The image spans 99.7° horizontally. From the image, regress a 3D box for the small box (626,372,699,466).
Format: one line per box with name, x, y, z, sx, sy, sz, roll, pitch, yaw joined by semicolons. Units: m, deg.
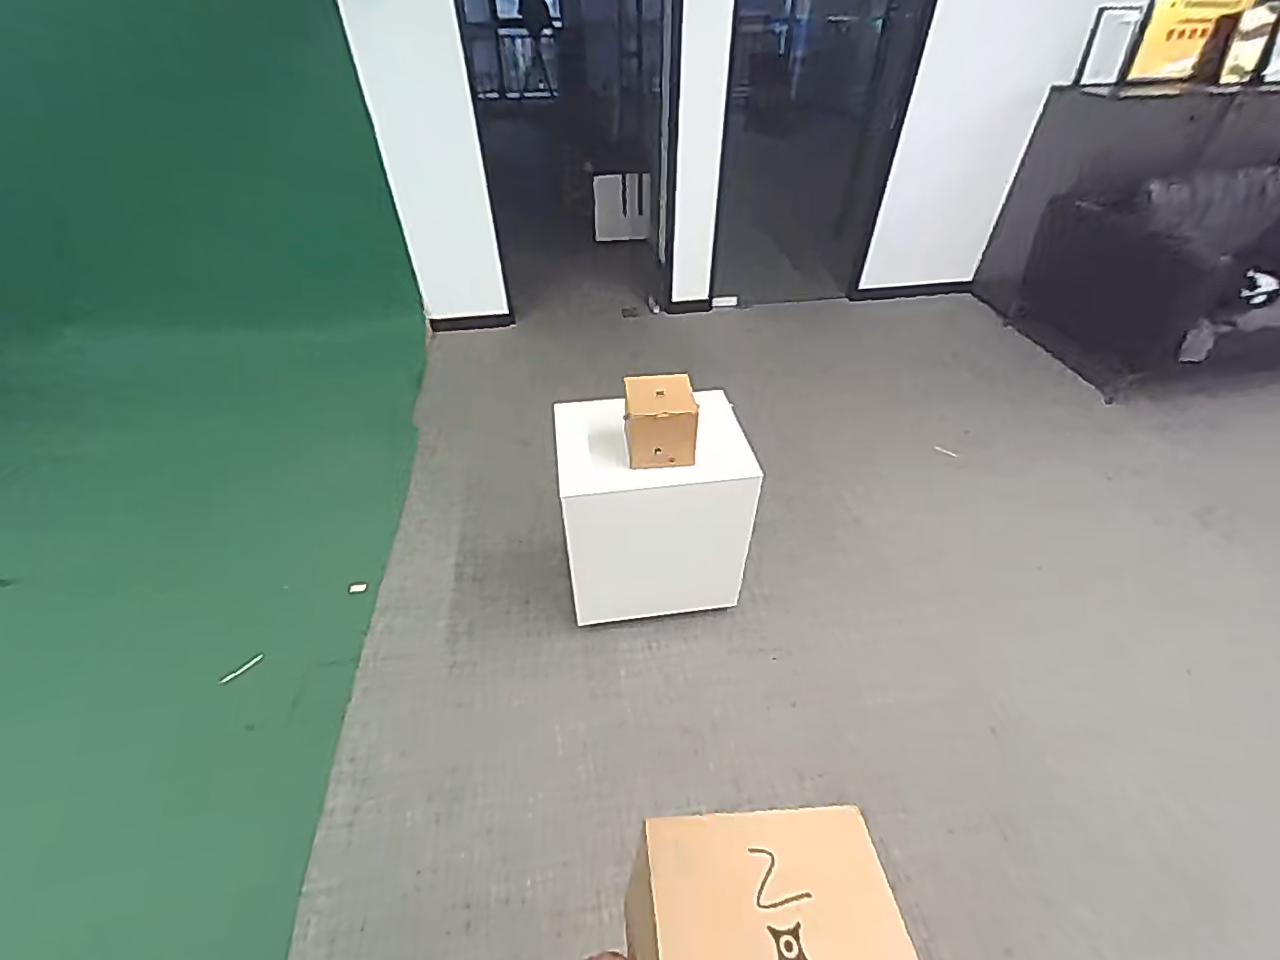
small box;0.050;-0.155;1.375;0.168;0.176;0.179;-5;42;-4
